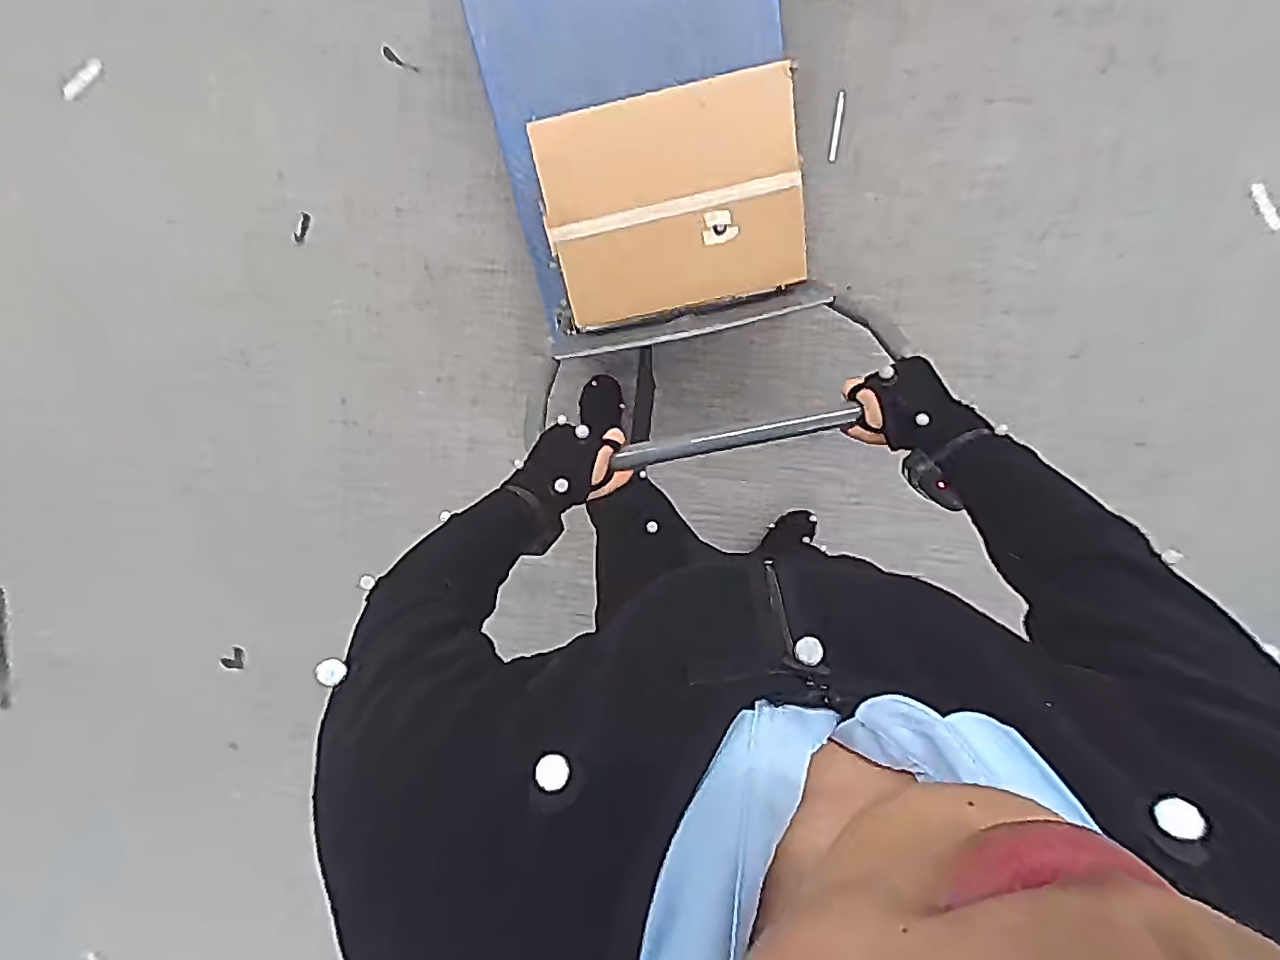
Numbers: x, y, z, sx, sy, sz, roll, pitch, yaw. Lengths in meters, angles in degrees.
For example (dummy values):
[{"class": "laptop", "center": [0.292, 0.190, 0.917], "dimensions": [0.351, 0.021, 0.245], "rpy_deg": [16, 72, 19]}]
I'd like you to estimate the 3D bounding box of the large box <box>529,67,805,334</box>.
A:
[{"class": "large box", "center": [0.049, -0.492, 1.004], "dimensions": [0.408, 0.320, 0.320], "rpy_deg": [-12, 116, 3]}]
